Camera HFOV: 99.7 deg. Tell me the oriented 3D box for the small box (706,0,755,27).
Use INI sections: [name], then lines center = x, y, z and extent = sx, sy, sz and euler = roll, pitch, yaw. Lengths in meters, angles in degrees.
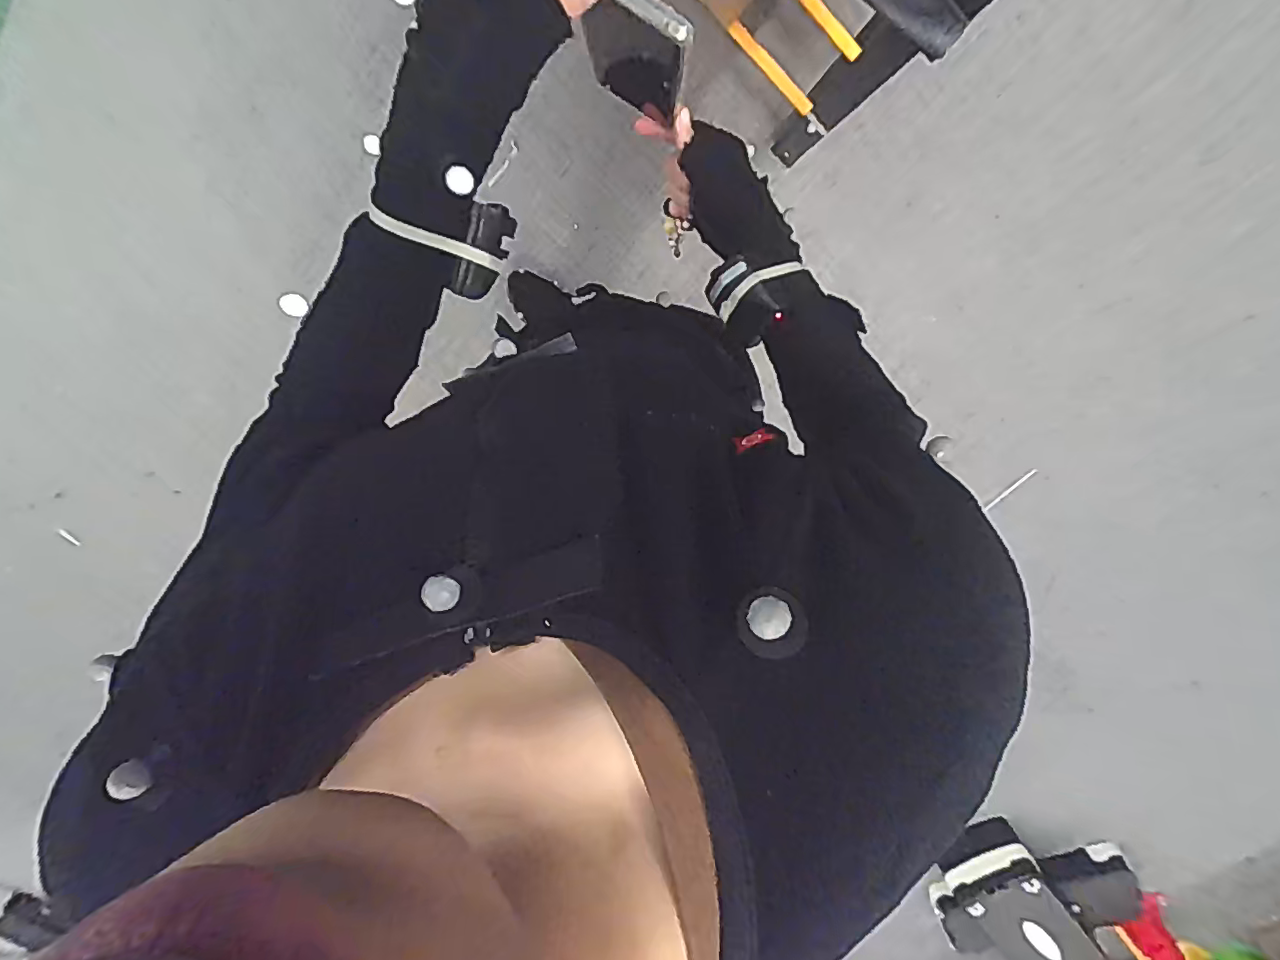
[small box]
center = 0.172, -0.959, 0.944
extent = 0.168, 0.176, 0.179
euler = 44, 107, -13
